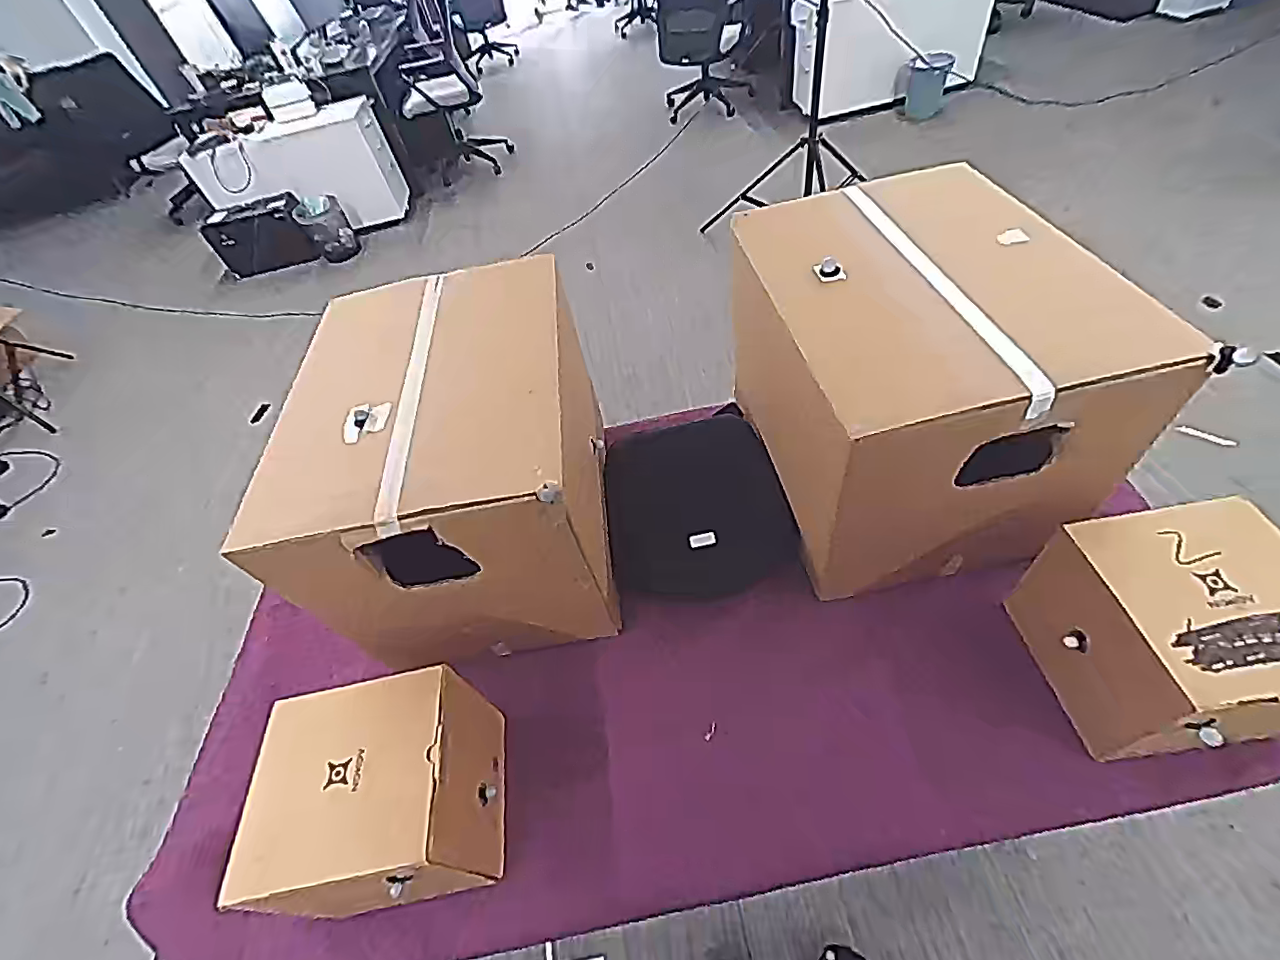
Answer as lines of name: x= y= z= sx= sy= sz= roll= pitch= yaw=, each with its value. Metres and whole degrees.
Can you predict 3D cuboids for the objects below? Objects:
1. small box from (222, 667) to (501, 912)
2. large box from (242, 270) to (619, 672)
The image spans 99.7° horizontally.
small box: x=-0.256 y=0.318 z=0.549 sx=0.179 sy=0.176 sz=0.168 roll=-13 pitch=49 yaw=0
large box: x=-0.220 y=-0.011 z=0.722 sx=0.320 sy=0.320 sz=0.408 roll=-12 pitch=52 yaw=3
